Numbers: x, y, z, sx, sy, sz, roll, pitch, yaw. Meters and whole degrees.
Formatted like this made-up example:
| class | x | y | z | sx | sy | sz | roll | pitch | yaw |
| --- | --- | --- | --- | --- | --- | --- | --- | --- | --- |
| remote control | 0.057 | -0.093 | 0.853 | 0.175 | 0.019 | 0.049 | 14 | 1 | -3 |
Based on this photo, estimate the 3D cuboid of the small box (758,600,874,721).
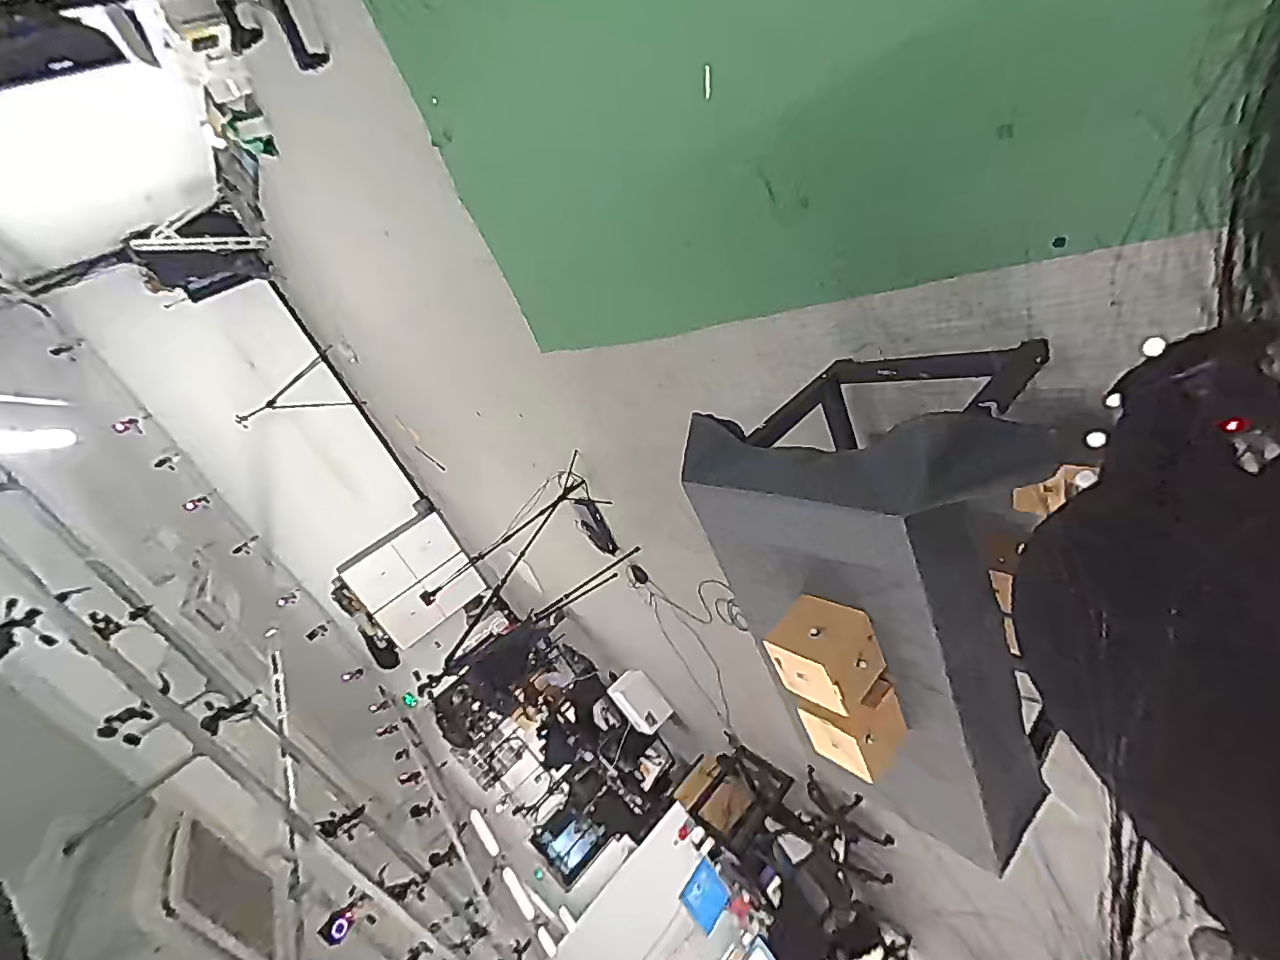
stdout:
| class | x | y | z | sx | sy | sz | roll | pitch | yaw |
| --- | --- | --- | --- | --- | --- | --- | --- | --- | --- |
| small box | 0.407 | 0.398 | 1.227 | 0.179 | 0.176 | 0.168 | 5 | 128 | 54 |
